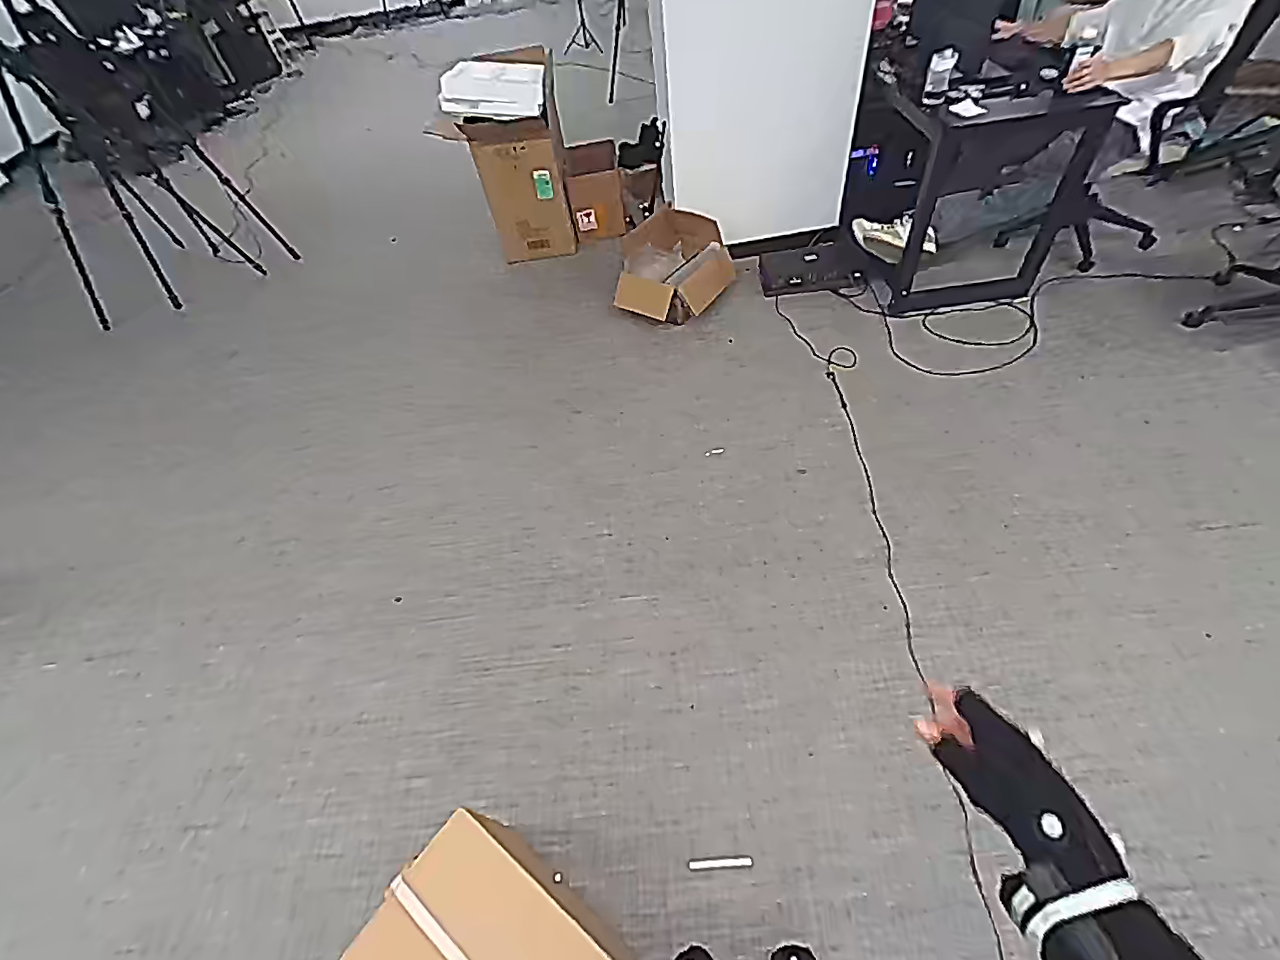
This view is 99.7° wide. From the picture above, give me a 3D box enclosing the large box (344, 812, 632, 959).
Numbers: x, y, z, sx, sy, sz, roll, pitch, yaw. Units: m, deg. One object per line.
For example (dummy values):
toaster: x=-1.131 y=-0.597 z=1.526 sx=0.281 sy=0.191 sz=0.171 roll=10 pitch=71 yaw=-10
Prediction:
large box: x=-0.274 y=0.932 z=1.039 sx=0.408 sy=0.320 sz=0.320 roll=26 pitch=59 yaw=26
